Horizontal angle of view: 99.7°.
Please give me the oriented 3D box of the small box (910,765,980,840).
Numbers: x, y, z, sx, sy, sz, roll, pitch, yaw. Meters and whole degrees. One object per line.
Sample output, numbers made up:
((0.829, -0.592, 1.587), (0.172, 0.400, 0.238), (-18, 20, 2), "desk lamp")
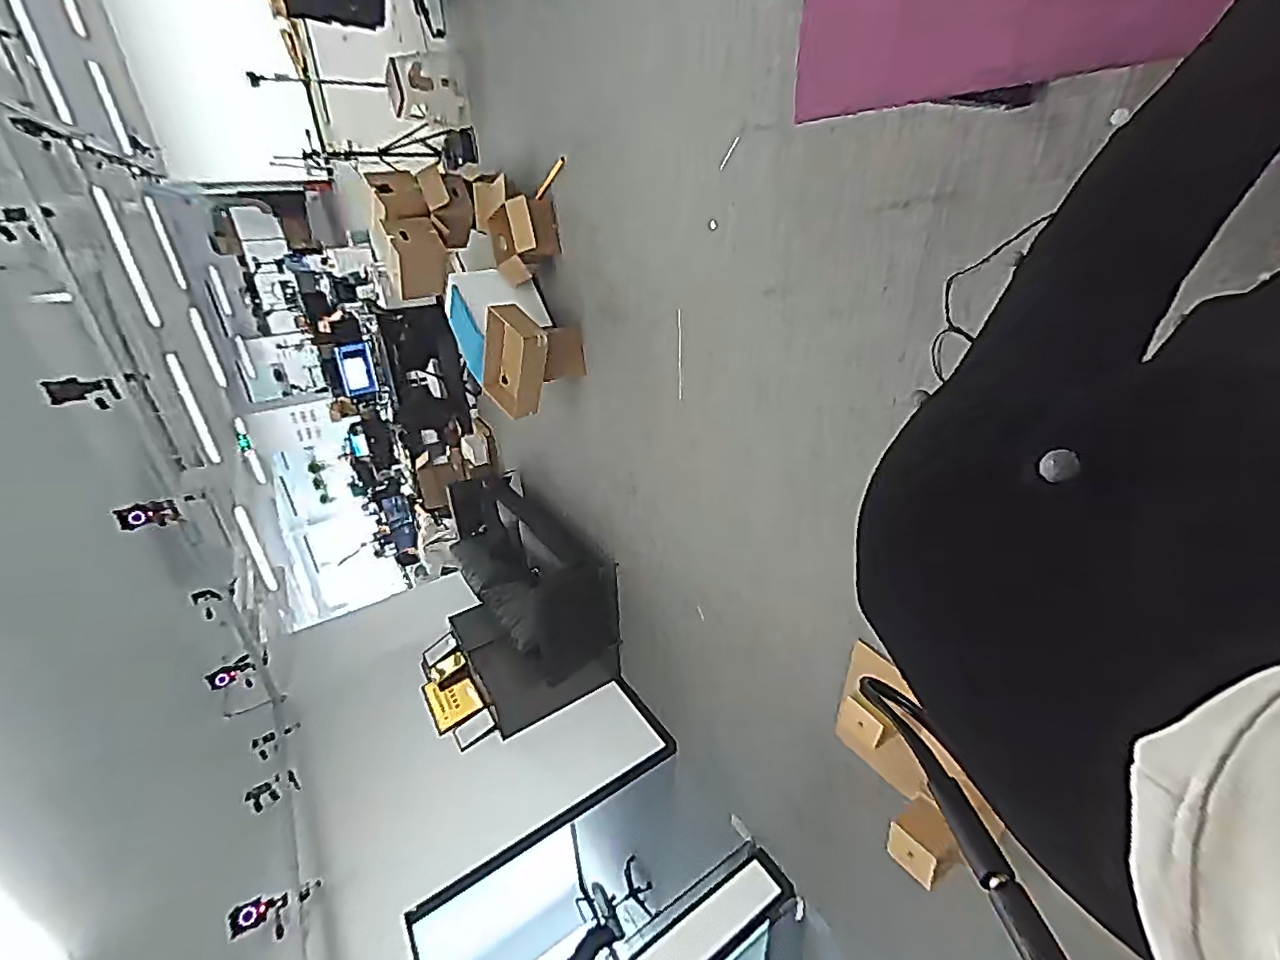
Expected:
((1.128, 1.211, 2.003), (0.168, 0.176, 0.179), (28, 130, 52), "small box")

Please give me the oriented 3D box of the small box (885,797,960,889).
((1.001, 1.278, 1.917), (0.168, 0.176, 0.179), (30, 132, 52), "small box")

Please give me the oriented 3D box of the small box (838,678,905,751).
((0.935, 0.937, 2.177), (0.168, 0.176, 0.179), (38, 138, 45), "small box")
